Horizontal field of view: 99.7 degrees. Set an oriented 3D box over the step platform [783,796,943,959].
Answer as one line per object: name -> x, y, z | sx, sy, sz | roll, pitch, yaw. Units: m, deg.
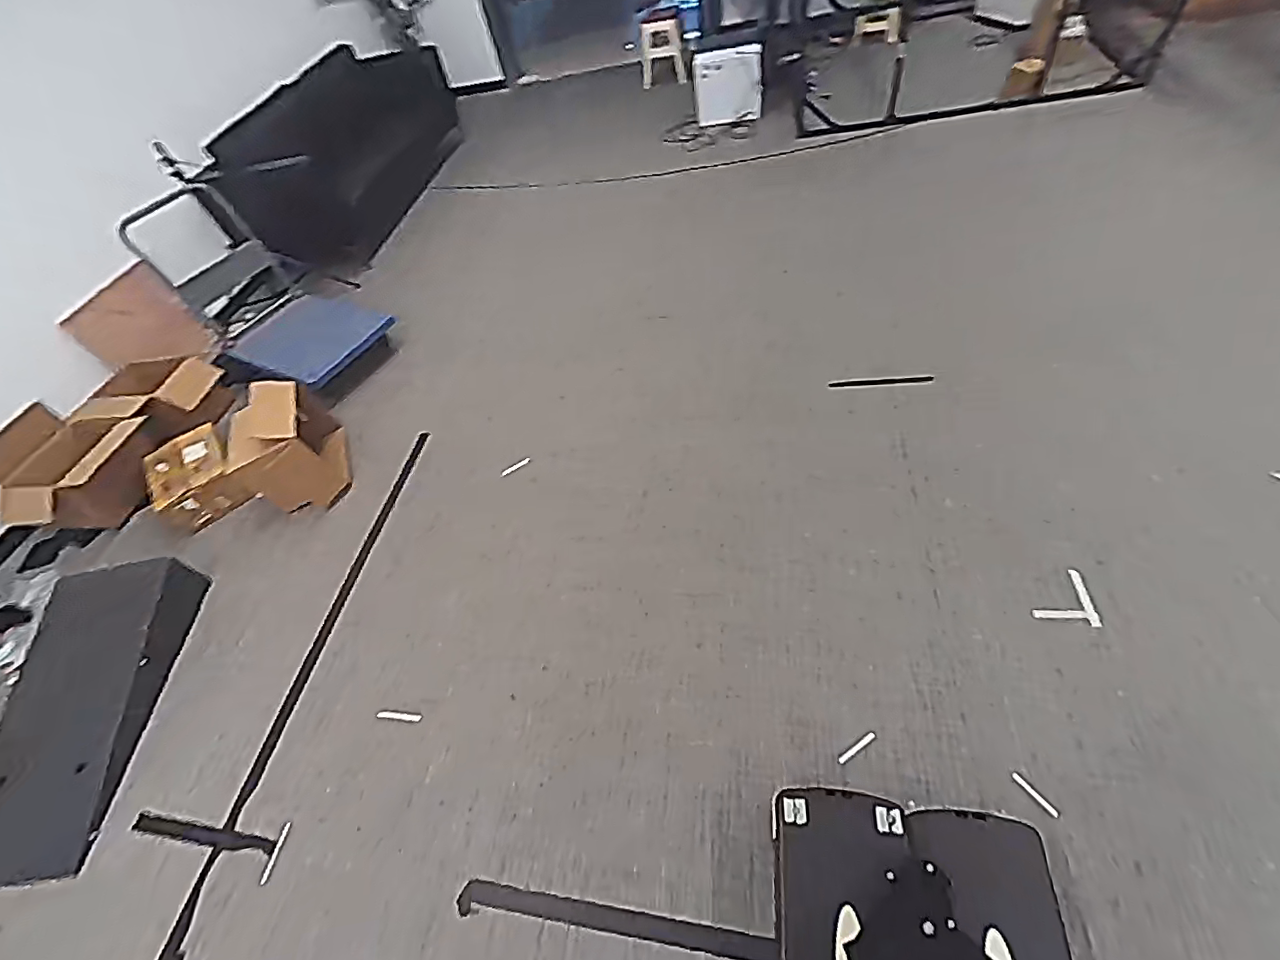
step platform -> 0.447, 1.023, 1.073 | 0.286, 0.204, 0.684 | -2, 51, 12
